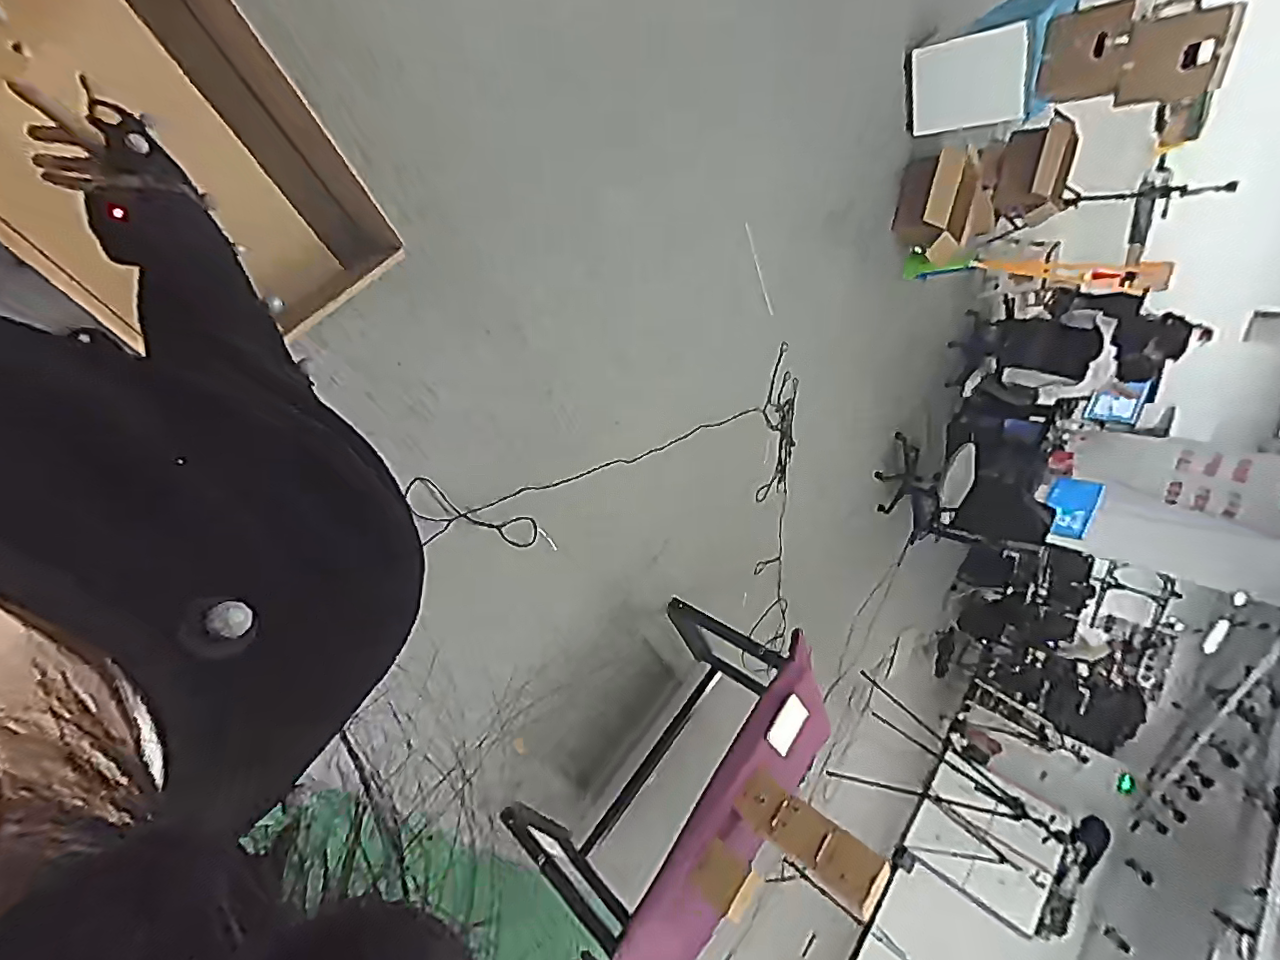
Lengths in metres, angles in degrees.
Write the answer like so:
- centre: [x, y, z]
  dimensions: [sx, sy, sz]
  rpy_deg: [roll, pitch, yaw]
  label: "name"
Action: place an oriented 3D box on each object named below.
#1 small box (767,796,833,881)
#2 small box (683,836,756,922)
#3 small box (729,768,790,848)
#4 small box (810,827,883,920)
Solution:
- centre: [0.564, 1.247, 1.891]
  dimensions: [0.168, 0.176, 0.179]
  rpy_deg: [-47, 134, -23]
  label: "small box"
- centre: [0.280, 1.392, 1.893]
  dimensions: [0.168, 0.176, 0.179]
  rpy_deg: [-47, 134, -24]
  label: "small box"
- centre: [0.452, 1.209, 2.006]
  dimensions: [0.168, 0.176, 0.179]
  rpy_deg: [-47, 132, -23]
  label: "small box"
- centre: [0.676, 1.287, 1.779]
  dimensions: [0.168, 0.176, 0.179]
  rpy_deg: [-46, 133, -23]
  label: "small box"
